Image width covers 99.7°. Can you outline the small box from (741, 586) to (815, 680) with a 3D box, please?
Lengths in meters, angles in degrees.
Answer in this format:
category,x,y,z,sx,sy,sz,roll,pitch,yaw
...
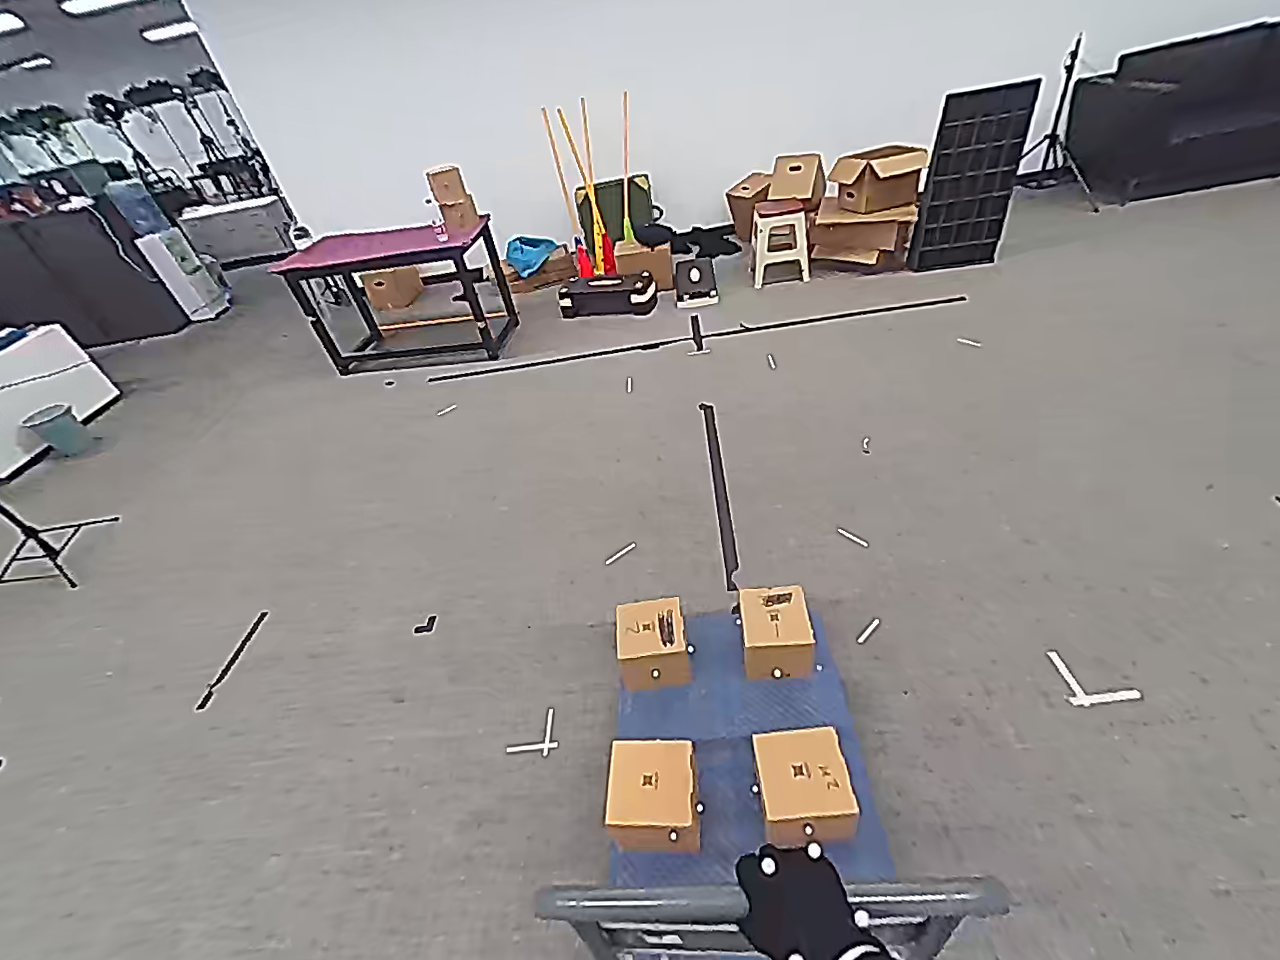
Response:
category,x,y,z,sx,sy,sz,roll,pitch,yaw
small box,0.355,0.402,1.419,0.168,0.176,0.179,-6,41,8

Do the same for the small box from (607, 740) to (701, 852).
category,x,y,z,sx,sy,sz,roll,pitch,yaw
small box,0.036,0.683,1.168,0.179,0.176,0.168,-4,40,7

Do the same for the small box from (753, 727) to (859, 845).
category,x,y,z,sx,sy,sz,roll,pitch,yaw
small box,0.342,0.645,1.135,0.179,0.176,0.168,-8,40,5
